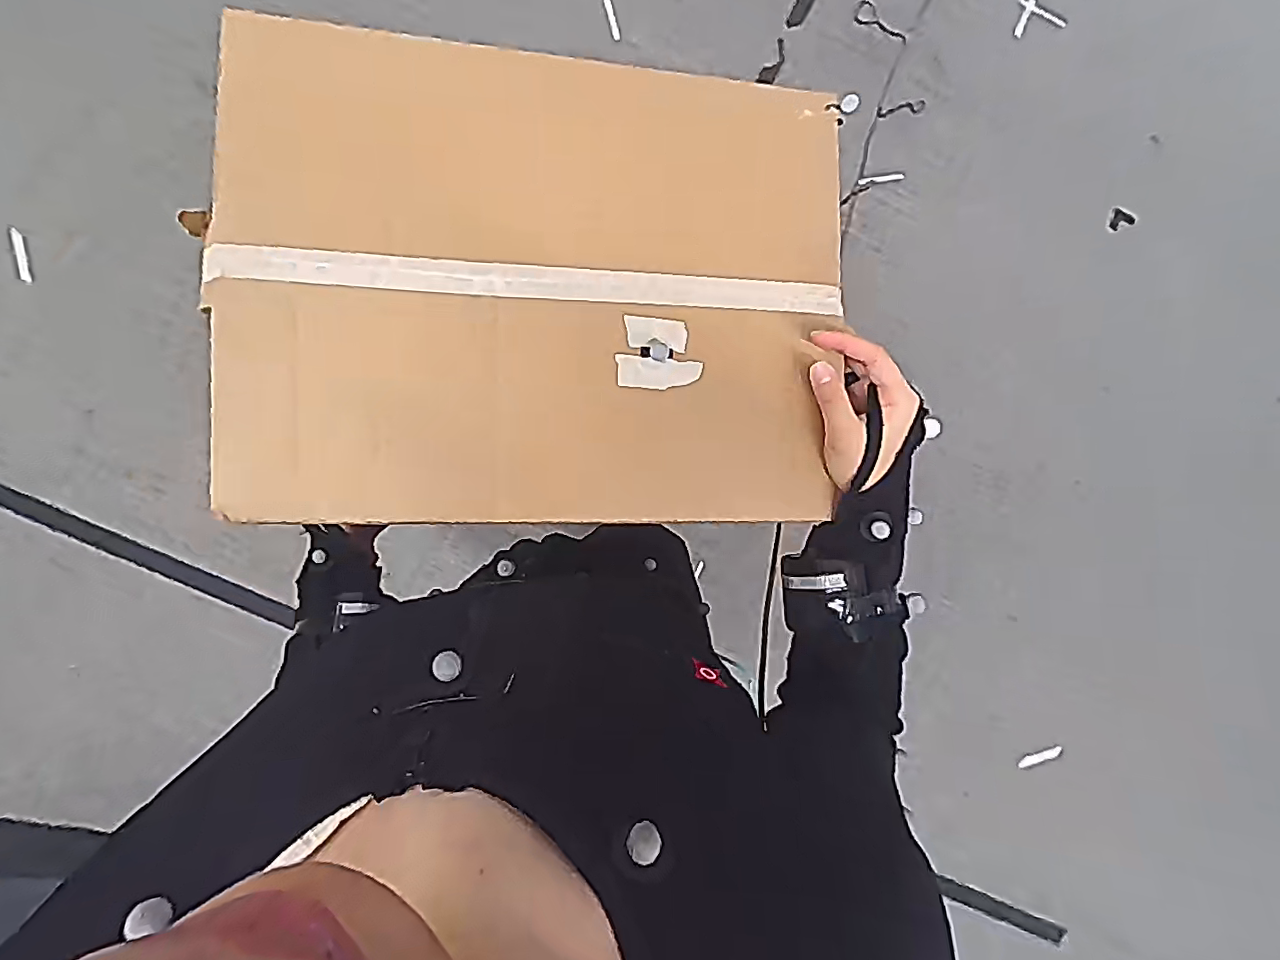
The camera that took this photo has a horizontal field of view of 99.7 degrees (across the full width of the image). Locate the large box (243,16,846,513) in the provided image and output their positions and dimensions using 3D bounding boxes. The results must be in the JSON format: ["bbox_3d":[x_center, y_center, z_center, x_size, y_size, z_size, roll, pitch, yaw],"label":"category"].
[{"bbox_3d":[-0.073,-0.131,0.511,0.408,0.320,0.320,1,89,-11],"label":"large box"}]
